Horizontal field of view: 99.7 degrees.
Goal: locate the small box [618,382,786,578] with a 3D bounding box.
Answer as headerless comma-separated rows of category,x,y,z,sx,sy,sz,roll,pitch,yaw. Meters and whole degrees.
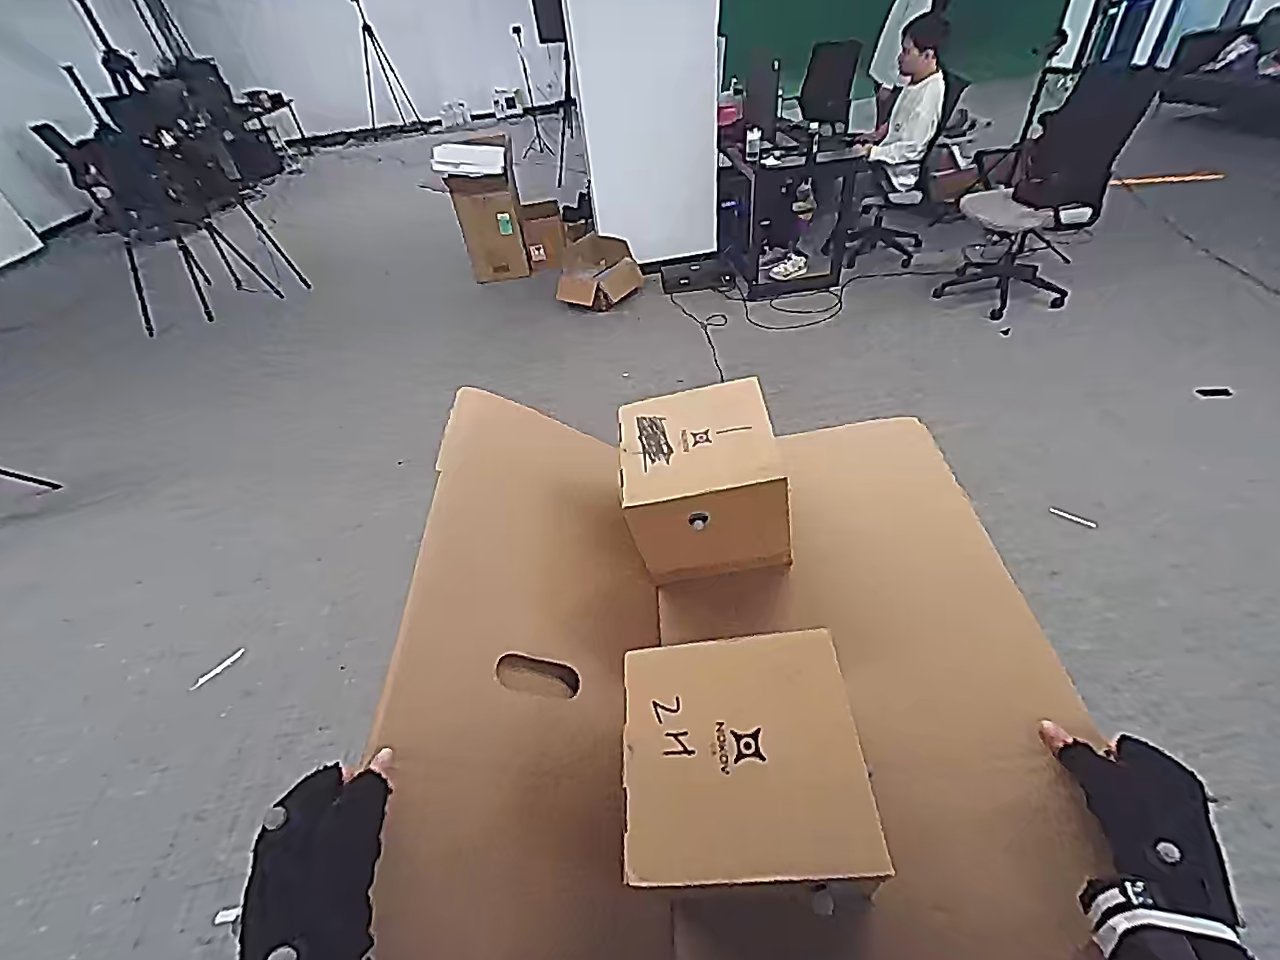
small box,0.079,0.008,0.684,0.179,0.176,0.168,-11,49,8

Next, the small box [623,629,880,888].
small box,0.091,0.248,0.474,0.179,0.176,0.168,-10,49,11
